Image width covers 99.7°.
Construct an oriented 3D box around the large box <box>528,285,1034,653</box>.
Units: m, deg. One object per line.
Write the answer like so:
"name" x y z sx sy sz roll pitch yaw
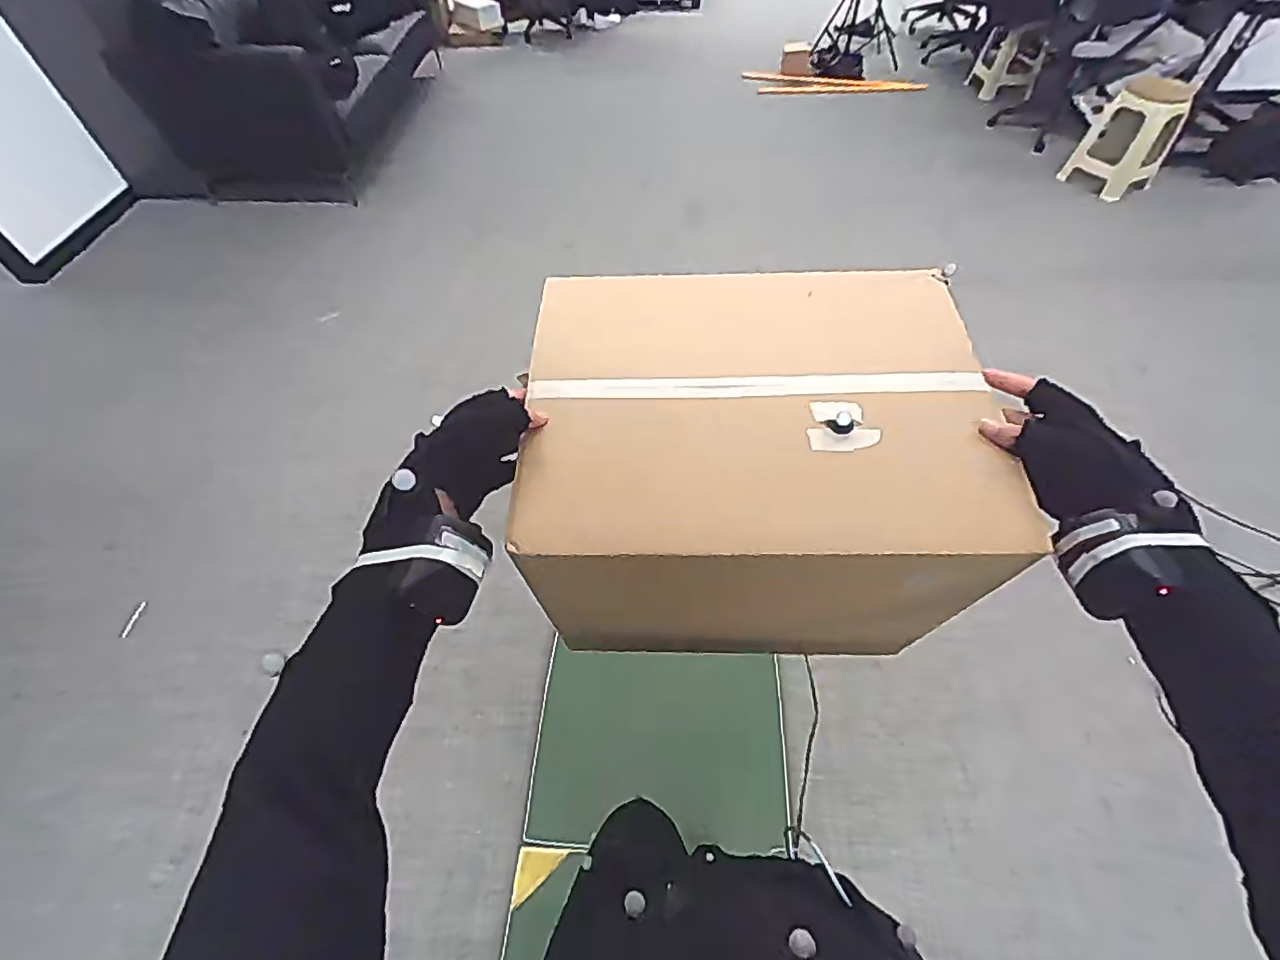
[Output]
"large box" 0.110 0.004 0.623 0.408 0.320 0.320 0 59 1
